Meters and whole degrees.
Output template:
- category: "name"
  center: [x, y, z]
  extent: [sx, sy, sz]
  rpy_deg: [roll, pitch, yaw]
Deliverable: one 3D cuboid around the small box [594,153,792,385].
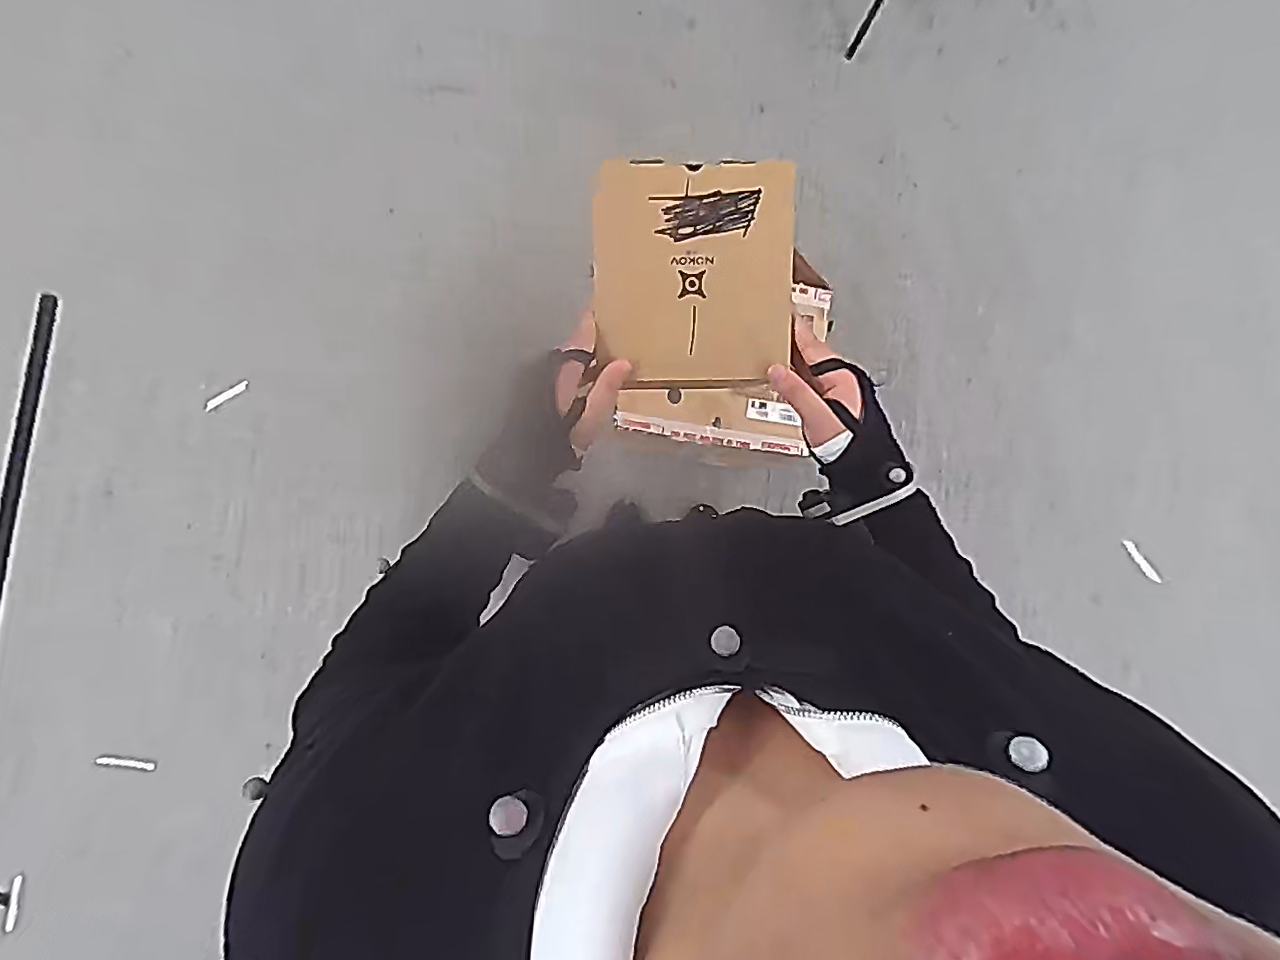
- category: "small box"
  center: [0.040, -0.186, 0.525]
  extent: [0.168, 0.176, 0.179]
  rpy_deg: [-1, 98, -1]
